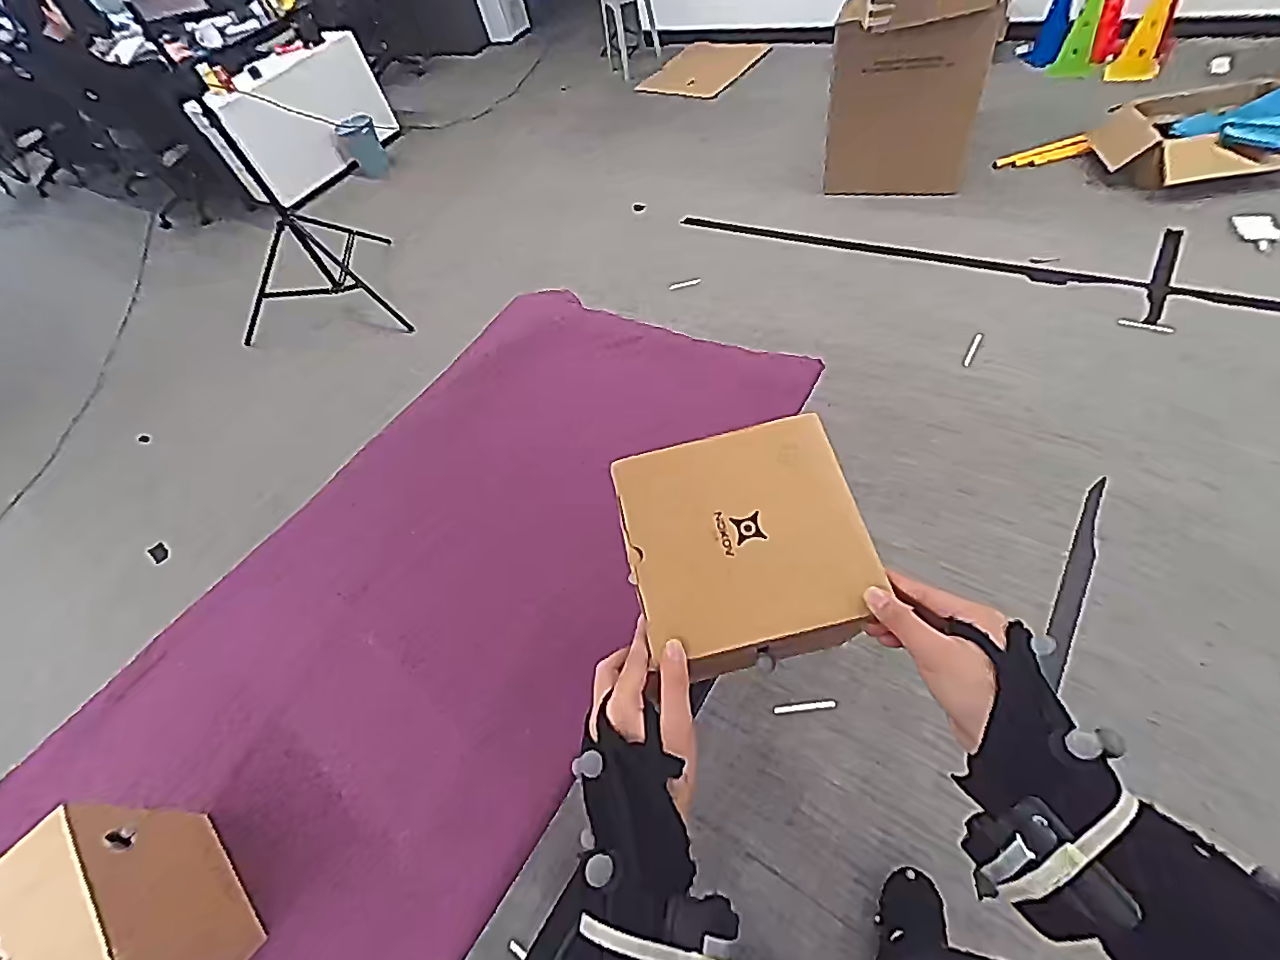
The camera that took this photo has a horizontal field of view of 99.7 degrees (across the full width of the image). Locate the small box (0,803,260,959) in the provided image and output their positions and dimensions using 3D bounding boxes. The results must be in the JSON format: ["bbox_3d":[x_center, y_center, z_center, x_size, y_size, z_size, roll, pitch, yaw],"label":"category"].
[{"bbox_3d":[-0.514,0.445,0.506,0.179,0.176,0.168,31,67,29],"label":"small box"}]
